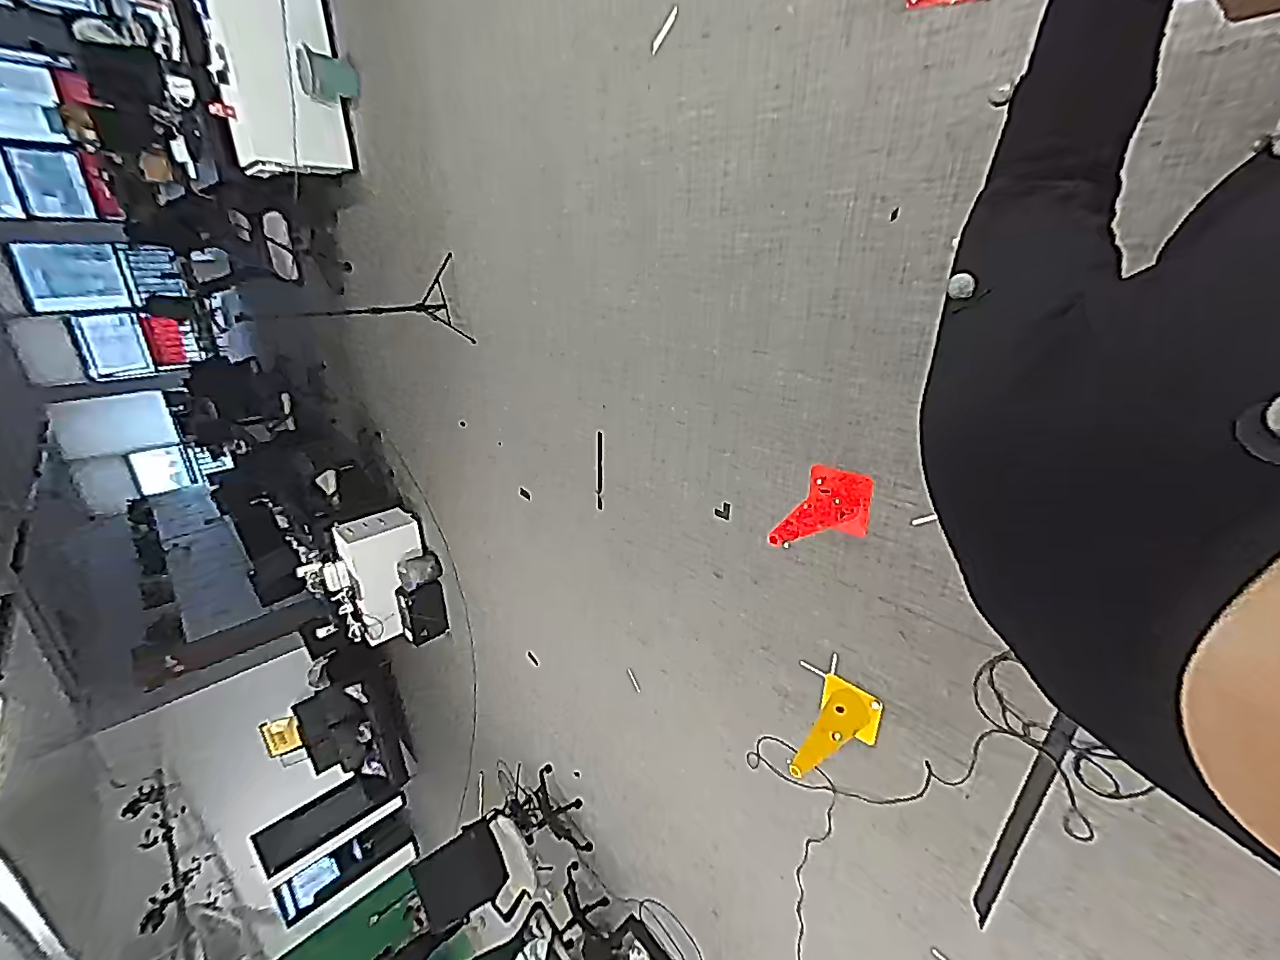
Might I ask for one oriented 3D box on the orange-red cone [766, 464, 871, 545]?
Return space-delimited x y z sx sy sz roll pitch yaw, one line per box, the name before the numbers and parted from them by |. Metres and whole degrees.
orange-red cone | 0.483 0.109 1.559 0.198 0.360 0.199 21 122 44
